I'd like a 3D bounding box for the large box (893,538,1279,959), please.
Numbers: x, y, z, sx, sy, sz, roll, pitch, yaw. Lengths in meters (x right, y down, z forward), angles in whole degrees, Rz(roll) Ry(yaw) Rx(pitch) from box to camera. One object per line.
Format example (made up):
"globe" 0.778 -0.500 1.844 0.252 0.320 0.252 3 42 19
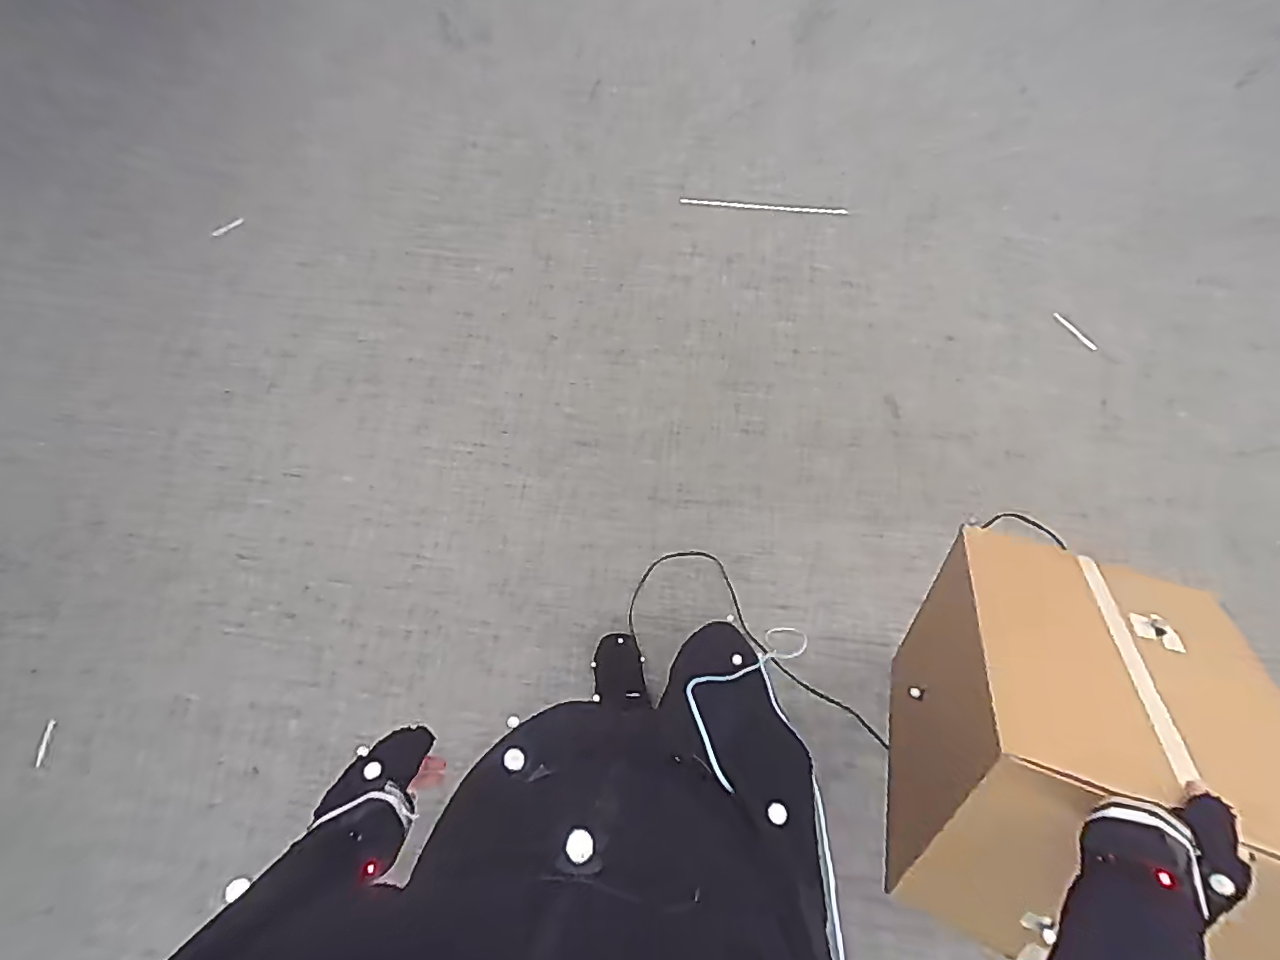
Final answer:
"large box" 0.535 0.344 0.694 0.320 0.408 0.320 18 123 16
